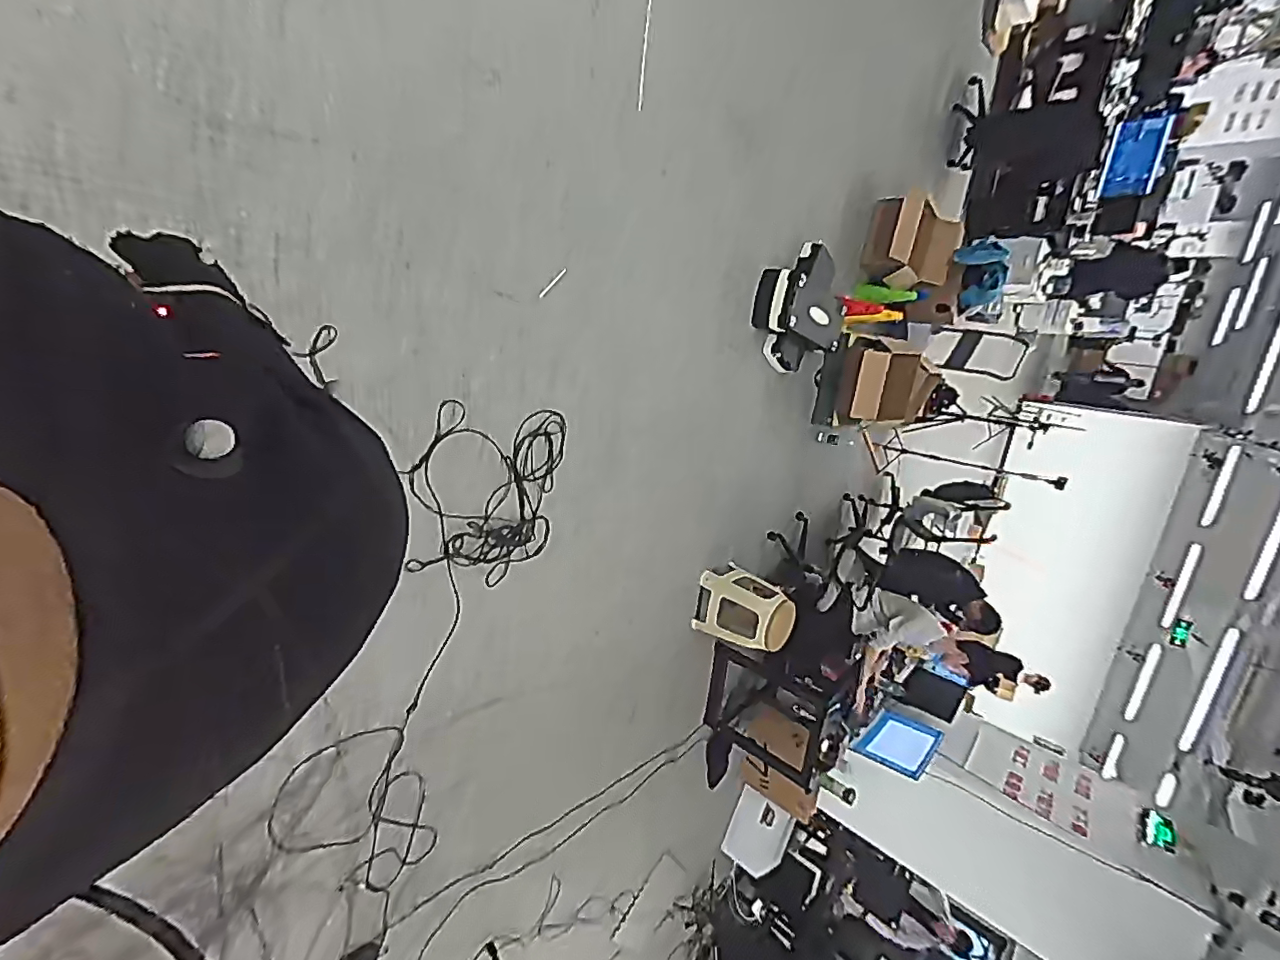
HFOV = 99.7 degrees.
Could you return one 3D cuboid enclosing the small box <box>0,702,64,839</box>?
[{"bbox_3d":[-1.240,0.568,1.043,0.168,0.176,0.179,-7,109,-49],"label":"small box"}]
